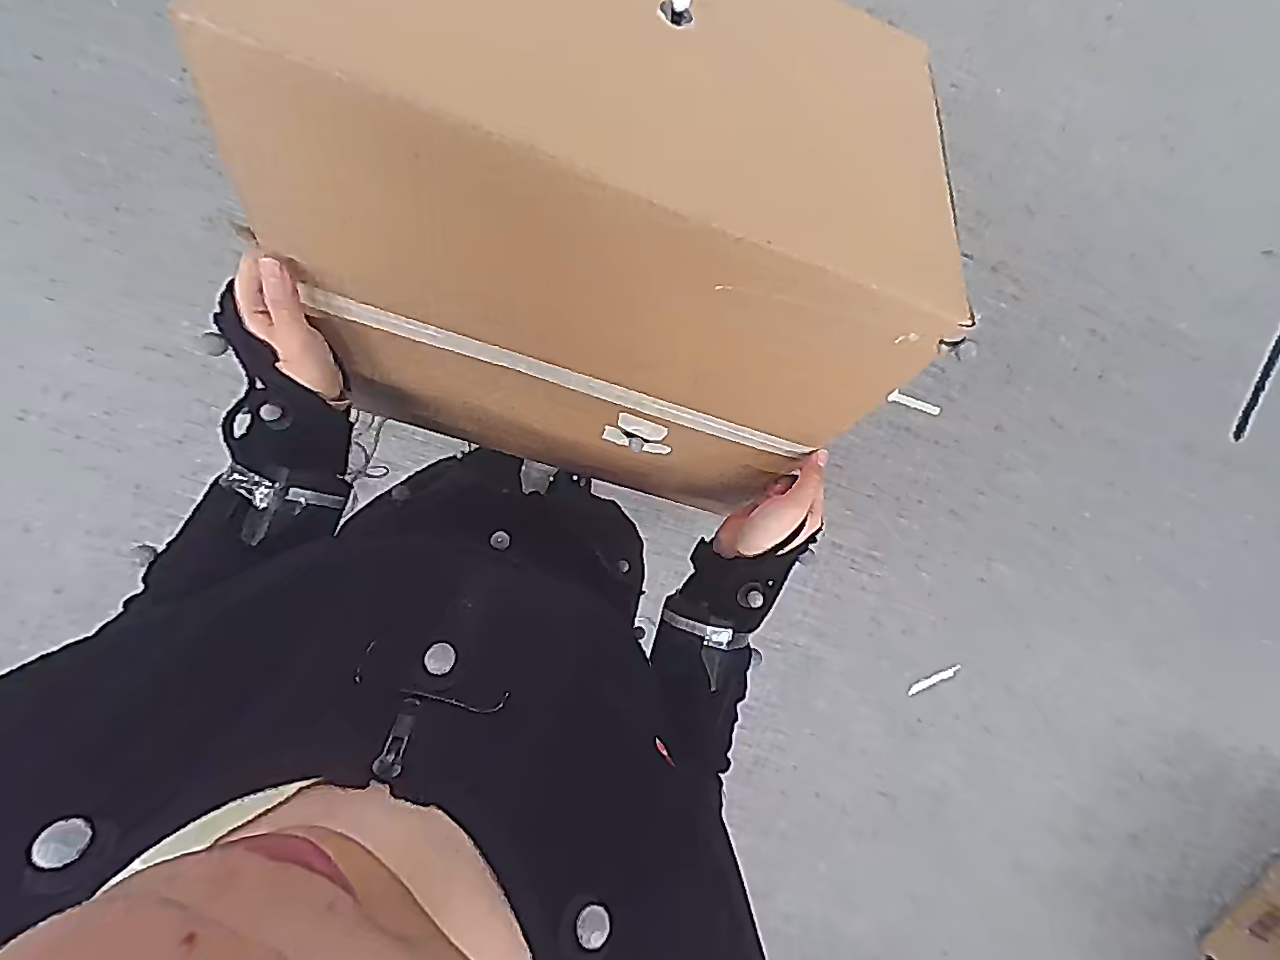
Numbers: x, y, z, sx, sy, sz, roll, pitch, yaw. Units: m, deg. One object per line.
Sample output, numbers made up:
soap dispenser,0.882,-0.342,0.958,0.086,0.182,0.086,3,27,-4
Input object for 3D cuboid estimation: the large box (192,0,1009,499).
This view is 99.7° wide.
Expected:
large box,-0.014,-0.223,0.446,0.408,0.320,0.320,15,63,-11
